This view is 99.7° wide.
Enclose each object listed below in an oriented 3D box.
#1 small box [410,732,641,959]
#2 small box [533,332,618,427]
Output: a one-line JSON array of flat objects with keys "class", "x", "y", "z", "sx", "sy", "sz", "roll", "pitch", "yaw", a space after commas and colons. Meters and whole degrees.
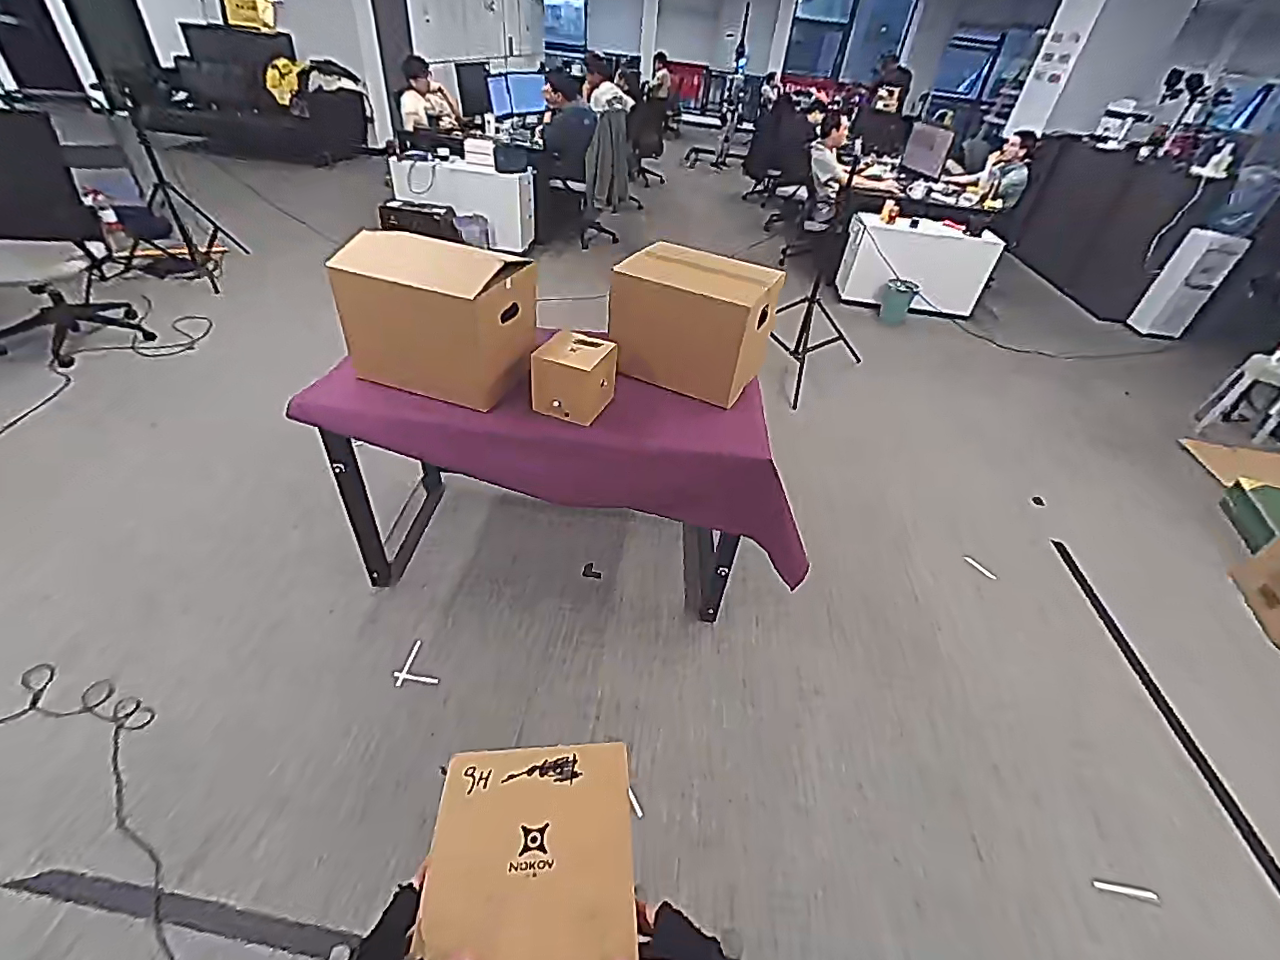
[{"class": "small box", "x": -0.085, "y": 0.356, "z": 0.482, "sx": 0.168, "sy": 0.176, "sz": 0.179, "roll": -2, "pitch": 36, "yaw": -4}, {"class": "small box", "x": -0.171, "y": -0.269, "z": 1.440, "sx": 0.168, "sy": 0.176, "sz": 0.179, "roll": 17, "pitch": 41, "yaw": 13}]
